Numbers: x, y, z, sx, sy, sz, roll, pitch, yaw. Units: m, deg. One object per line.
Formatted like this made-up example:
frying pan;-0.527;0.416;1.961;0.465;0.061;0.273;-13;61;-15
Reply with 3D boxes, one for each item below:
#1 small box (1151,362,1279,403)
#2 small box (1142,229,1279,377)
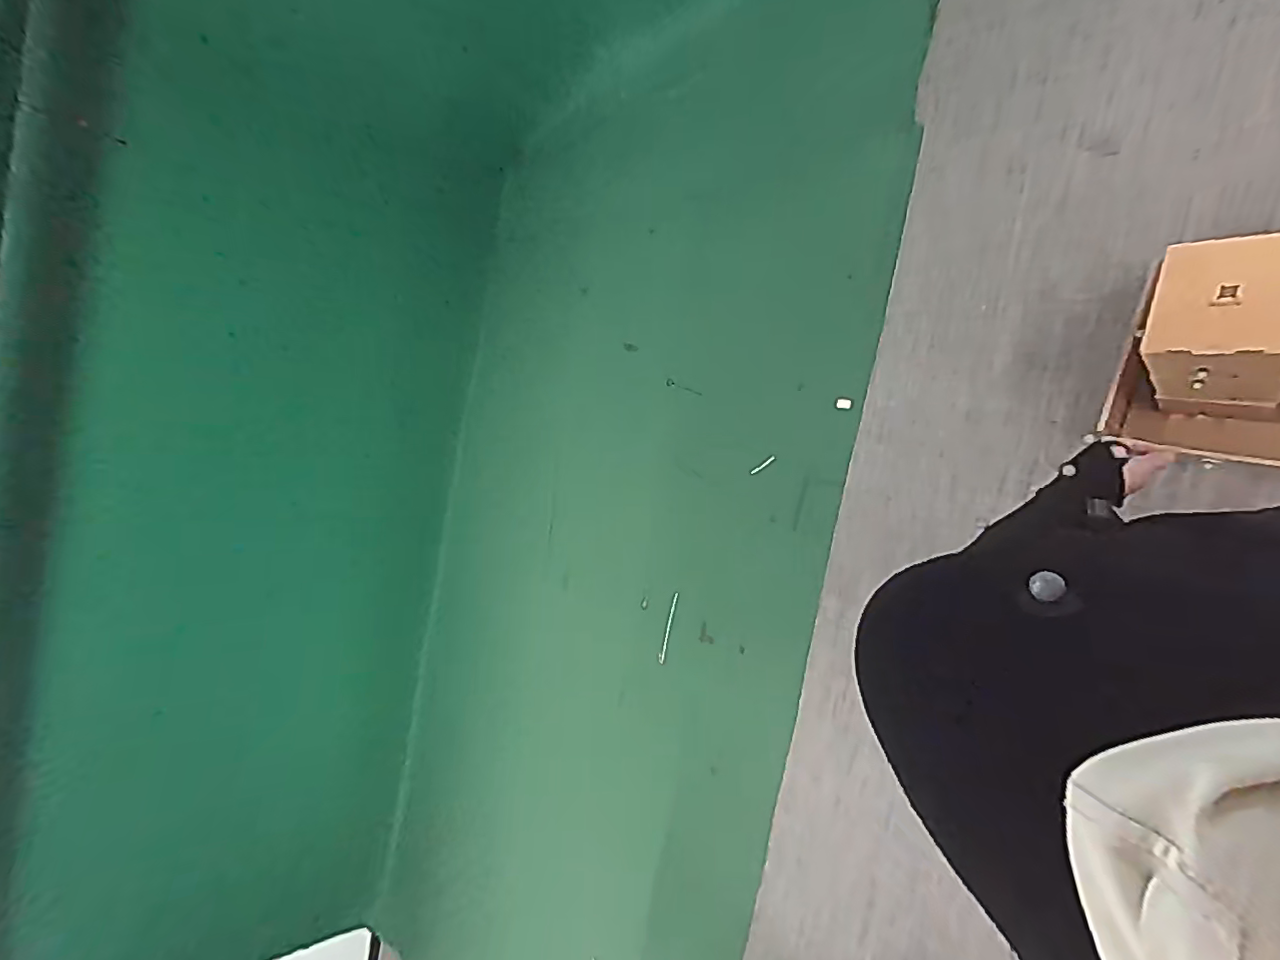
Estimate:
small box;1.051;-0.249;0.962;0.168;0.176;0.179;18;95;49
small box;0.932;-0.271;0.854;0.168;0.176;0.179;16;96;48
